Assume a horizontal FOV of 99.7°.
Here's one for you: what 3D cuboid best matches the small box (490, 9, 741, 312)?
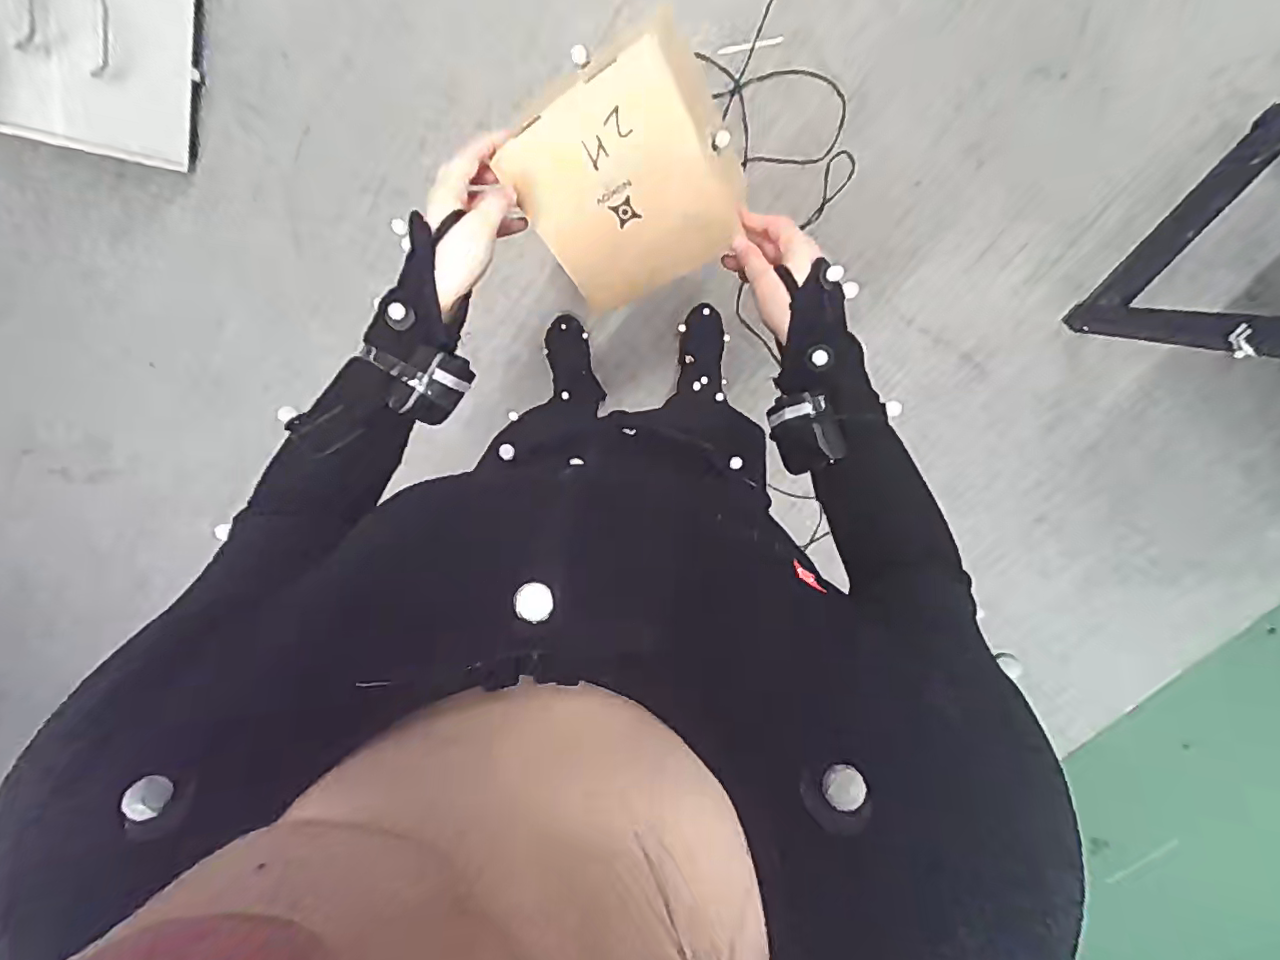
[{"bbox_3d":[-0.009,-0.308,0.531,0.168,0.176,0.179,-19,131,27],"label":"small box"}]
